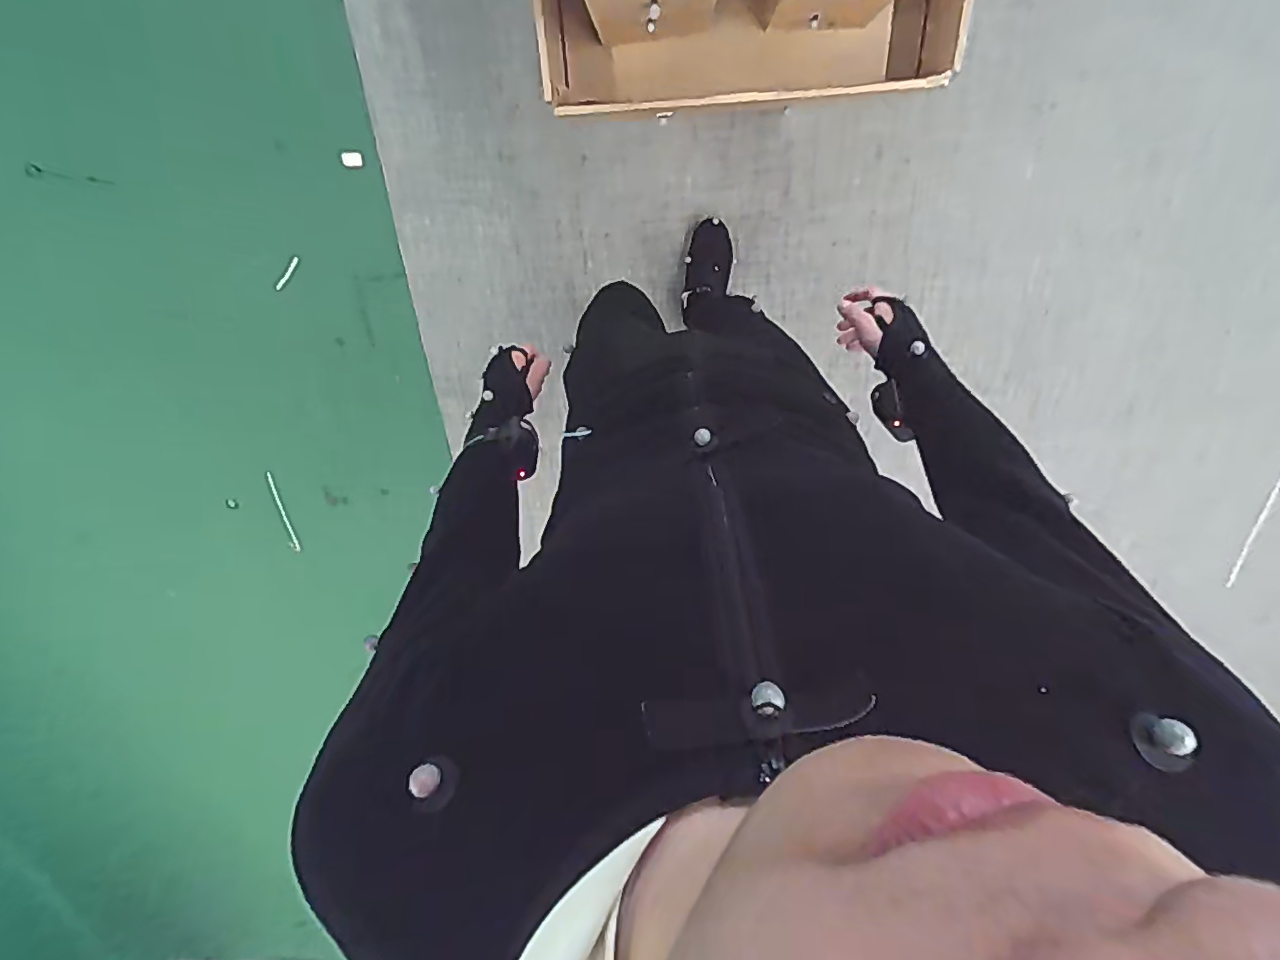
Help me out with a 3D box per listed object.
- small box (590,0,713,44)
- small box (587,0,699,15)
[{"bbox_3d":[0.017,-0.761,0.785,0.179,0.176,0.168,-3,117,4],"label":"small box"},{"bbox_3d":[0.008,-0.686,0.639,0.179,0.176,0.168,-4,117,5],"label":"small box"}]
